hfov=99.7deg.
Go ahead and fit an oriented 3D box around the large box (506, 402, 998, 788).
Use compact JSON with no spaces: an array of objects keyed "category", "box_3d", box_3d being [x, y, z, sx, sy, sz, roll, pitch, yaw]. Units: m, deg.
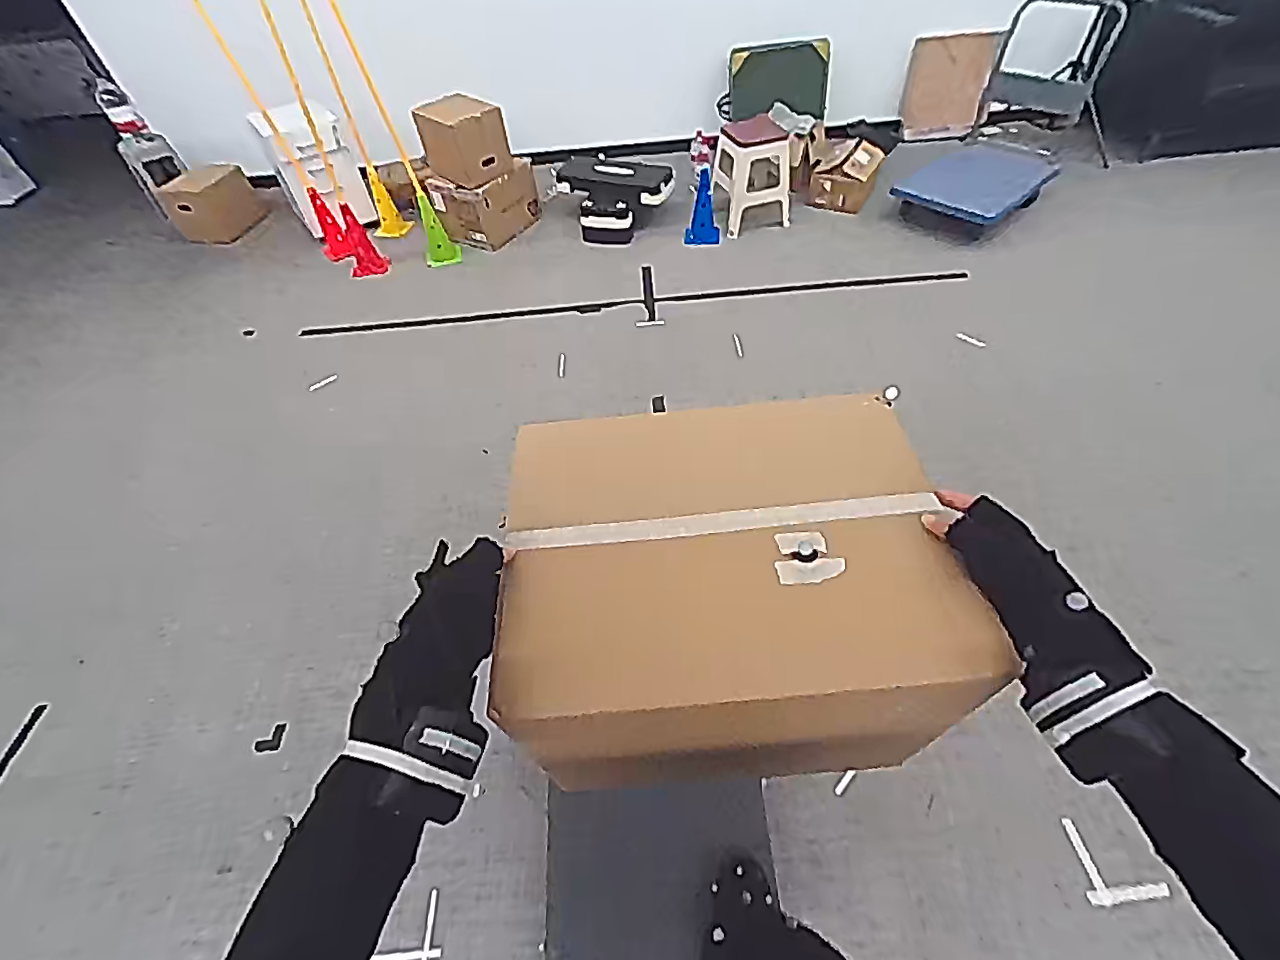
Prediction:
[{"category":"large box","box_3d":[0.086,0.142,0.635,0.408,0.320,0.320,-5,51,1]}]
